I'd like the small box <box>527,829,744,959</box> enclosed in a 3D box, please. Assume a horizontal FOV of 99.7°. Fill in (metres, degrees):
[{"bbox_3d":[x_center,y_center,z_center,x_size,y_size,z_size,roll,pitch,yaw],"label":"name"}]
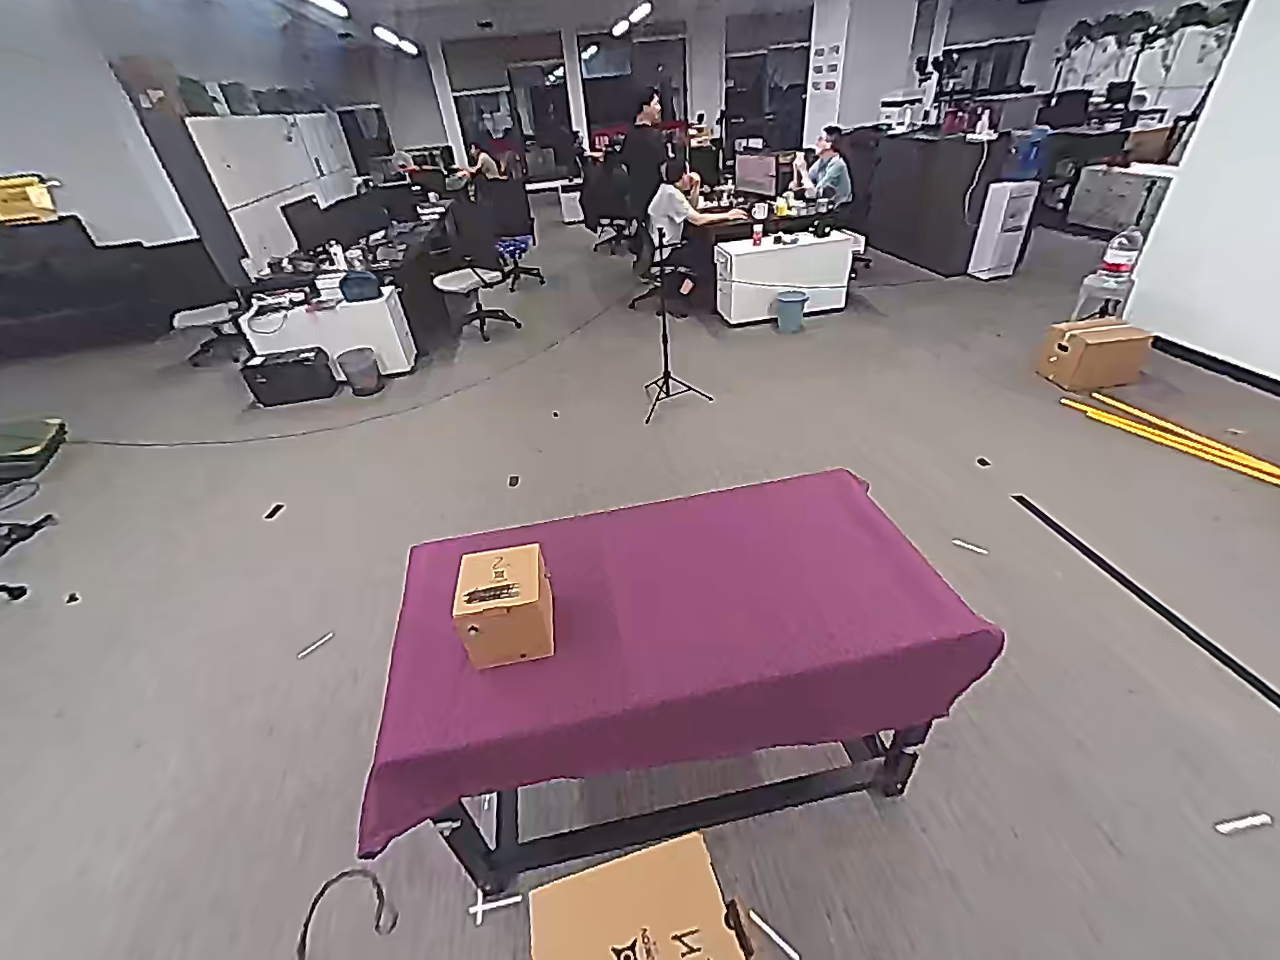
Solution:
[{"bbox_3d":[0.004,0.471,0.489,0.179,0.176,0.168,-12,24,-10],"label":"small box"}]
